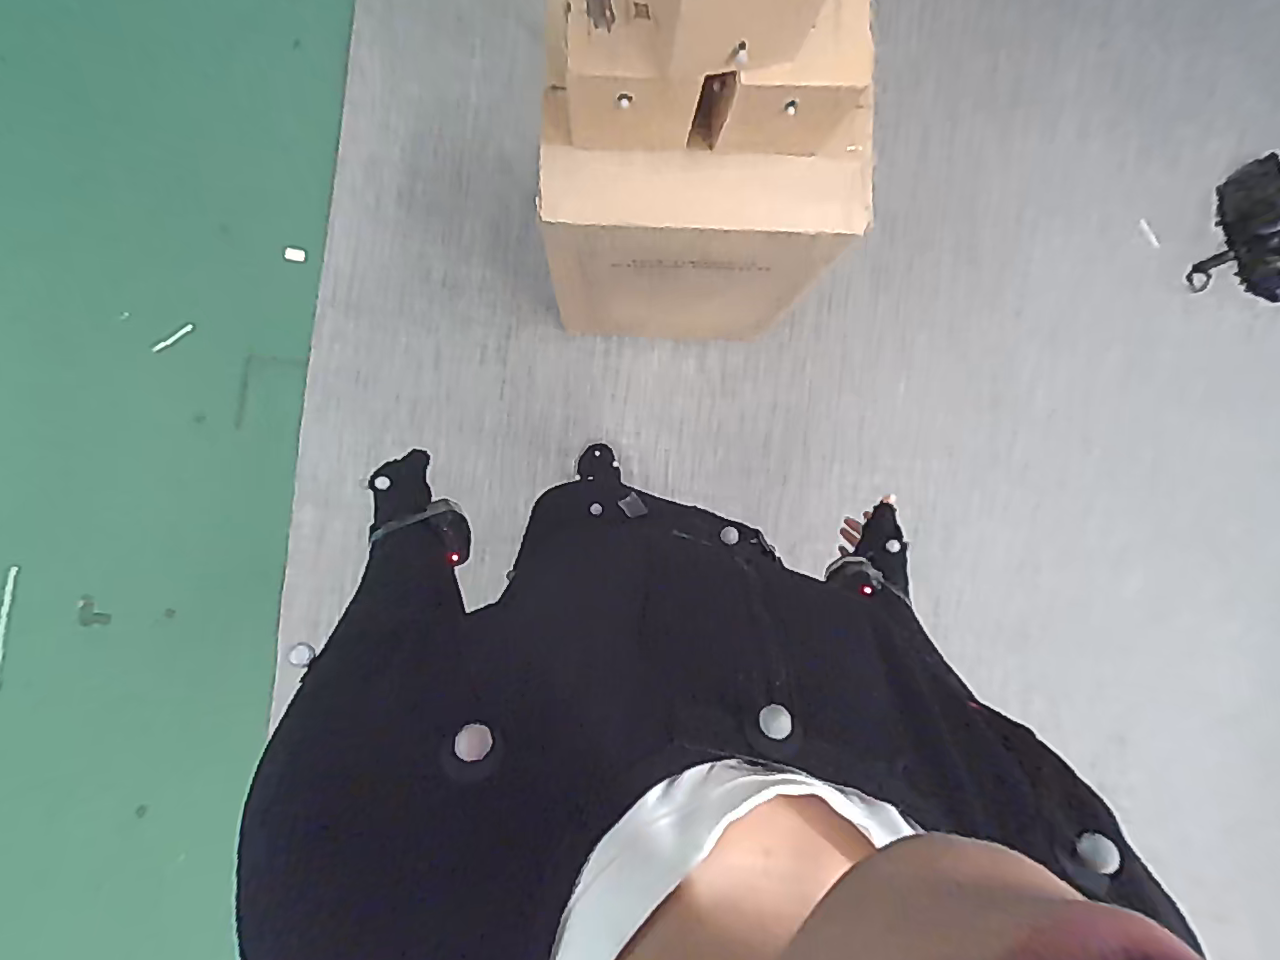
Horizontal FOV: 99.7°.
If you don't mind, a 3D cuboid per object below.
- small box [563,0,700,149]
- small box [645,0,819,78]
[{"bbox_3d":[-0.015,-0.592,0.756,0.179,0.176,0.168,-1,93,-5],"label":"small box"},{"bbox_3d":[0.102,-0.593,0.601,0.179,0.176,0.168,-13,94,-5],"label":"small box"}]
